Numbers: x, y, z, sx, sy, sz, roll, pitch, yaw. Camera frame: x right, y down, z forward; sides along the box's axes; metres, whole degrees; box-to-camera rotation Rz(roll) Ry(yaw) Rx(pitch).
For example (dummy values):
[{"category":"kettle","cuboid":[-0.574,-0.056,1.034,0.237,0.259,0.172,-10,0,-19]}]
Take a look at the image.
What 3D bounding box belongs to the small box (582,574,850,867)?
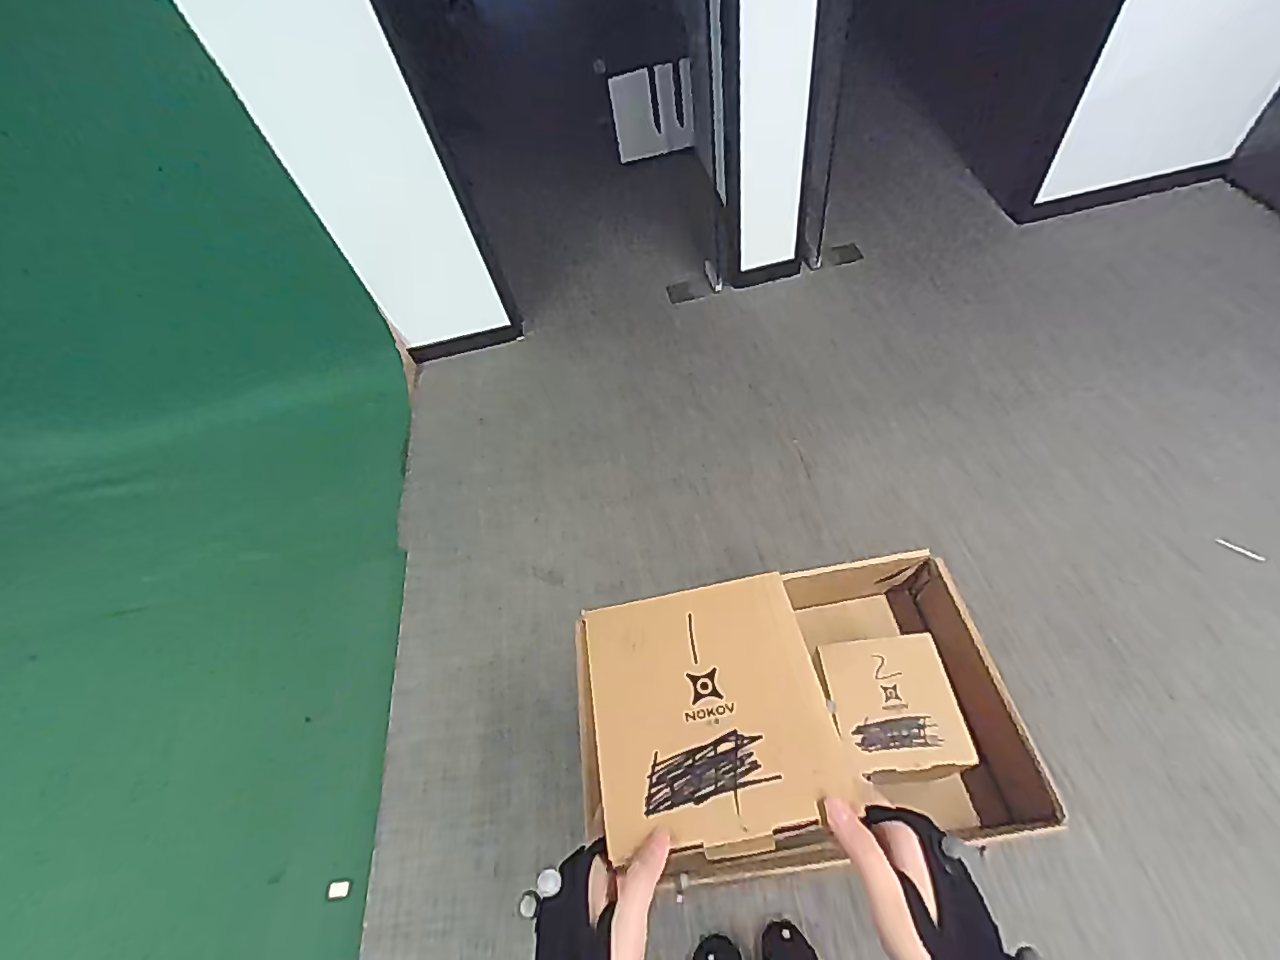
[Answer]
[{"category":"small box","cuboid":[0.057,0.208,0.456,0.168,0.176,0.179,-13,50,2]}]
